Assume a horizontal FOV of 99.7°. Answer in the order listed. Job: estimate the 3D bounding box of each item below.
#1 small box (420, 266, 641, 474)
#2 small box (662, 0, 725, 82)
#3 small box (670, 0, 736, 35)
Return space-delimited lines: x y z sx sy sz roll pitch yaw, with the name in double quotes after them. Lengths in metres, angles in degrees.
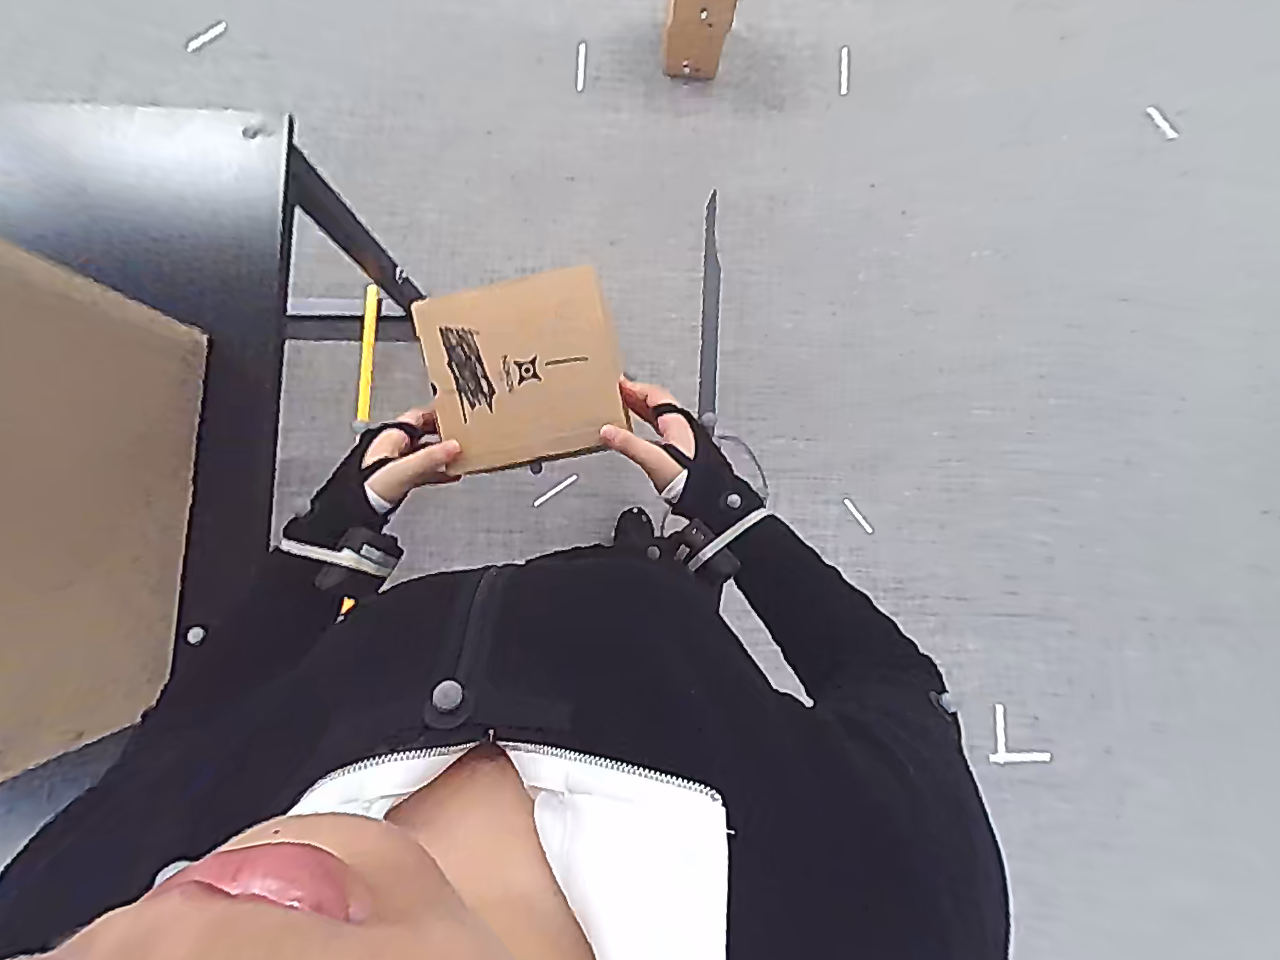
-0.101 -0.101 0.577 0.179 0.176 0.168 -12 92 3 "small box"
0.152 -1.298 1.553 0.168 0.176 0.179 2 86 -2 "small box"
0.167 -1.303 1.388 0.168 0.176 0.179 2 85 -2 "small box"
